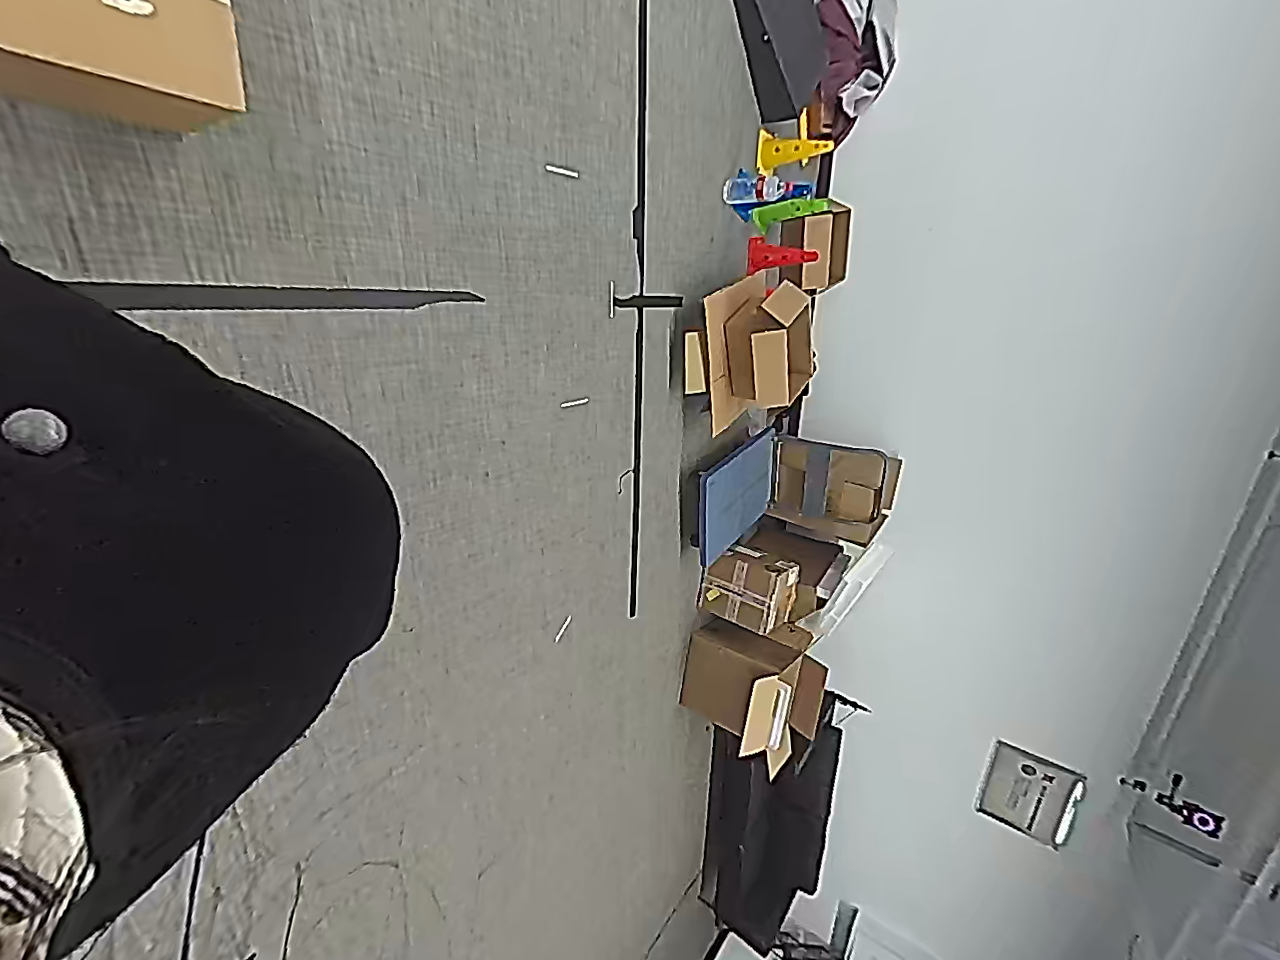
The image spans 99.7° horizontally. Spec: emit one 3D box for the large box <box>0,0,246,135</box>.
[{"bbox_3d":[-0.892,-0.748,0.787,0.408,0.320,0.320,-21,120,-52],"label":"large box"}]
